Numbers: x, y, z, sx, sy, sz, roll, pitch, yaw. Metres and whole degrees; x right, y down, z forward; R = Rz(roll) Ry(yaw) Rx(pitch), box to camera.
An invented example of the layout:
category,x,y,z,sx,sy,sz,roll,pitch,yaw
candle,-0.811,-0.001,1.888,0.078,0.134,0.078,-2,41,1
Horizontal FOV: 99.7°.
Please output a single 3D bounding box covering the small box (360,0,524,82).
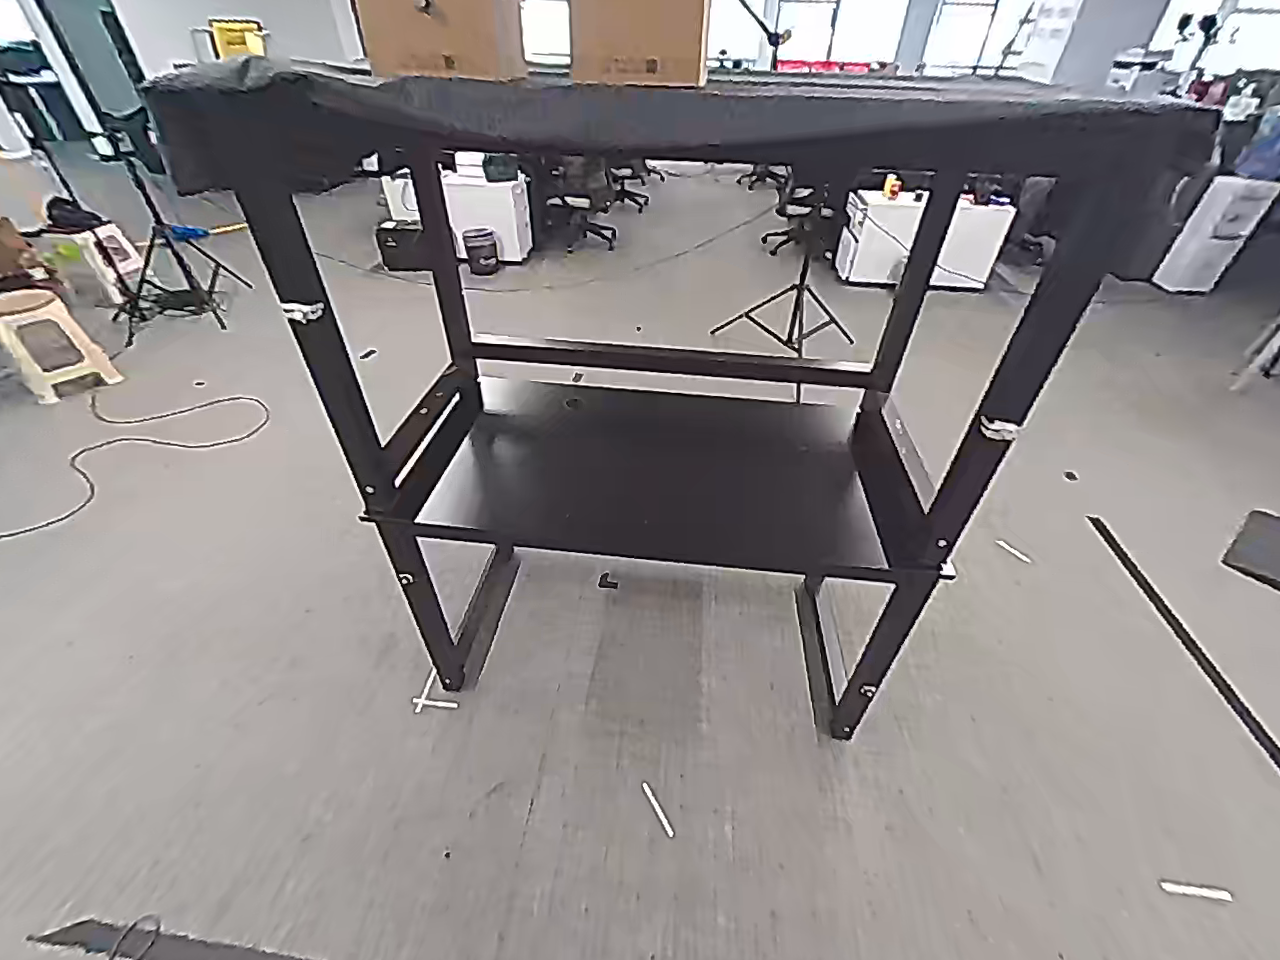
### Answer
category,x,y,z,sx,sy,sz,roll,pitch,yaw
small box,-0.252,-0.626,0.703,0.168,0.176,0.179,3,39,0
